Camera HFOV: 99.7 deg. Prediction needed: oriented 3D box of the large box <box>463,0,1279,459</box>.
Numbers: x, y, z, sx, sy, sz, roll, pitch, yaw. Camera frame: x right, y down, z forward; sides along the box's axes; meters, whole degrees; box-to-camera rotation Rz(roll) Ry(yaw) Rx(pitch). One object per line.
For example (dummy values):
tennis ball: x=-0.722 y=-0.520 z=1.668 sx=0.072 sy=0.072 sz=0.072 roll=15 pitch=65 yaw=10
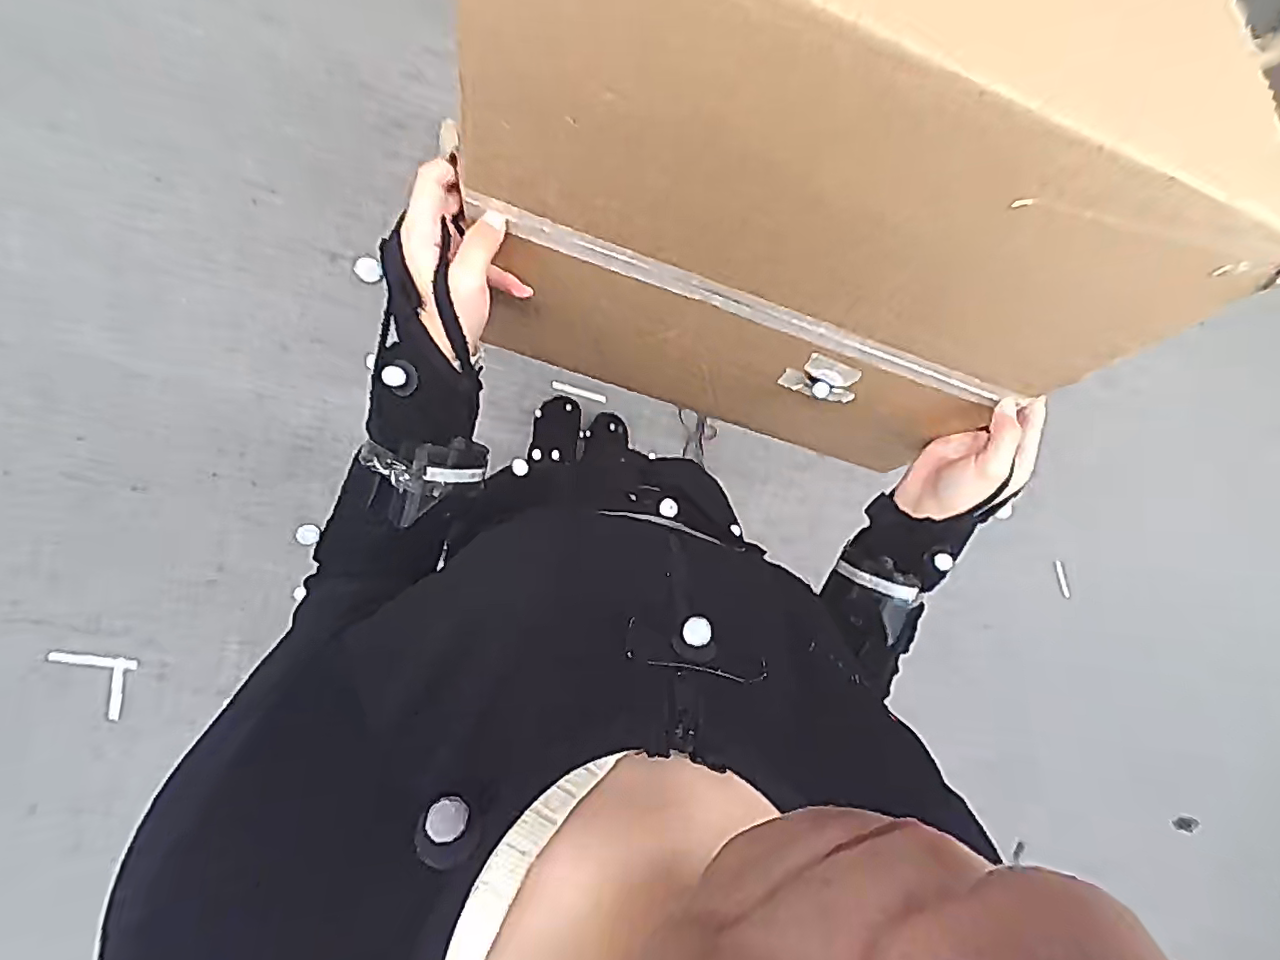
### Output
large box: x=0.112 y=-0.257 z=0.417 sx=0.408 sy=0.320 sz=0.320 roll=16 pitch=69 yaw=-10
